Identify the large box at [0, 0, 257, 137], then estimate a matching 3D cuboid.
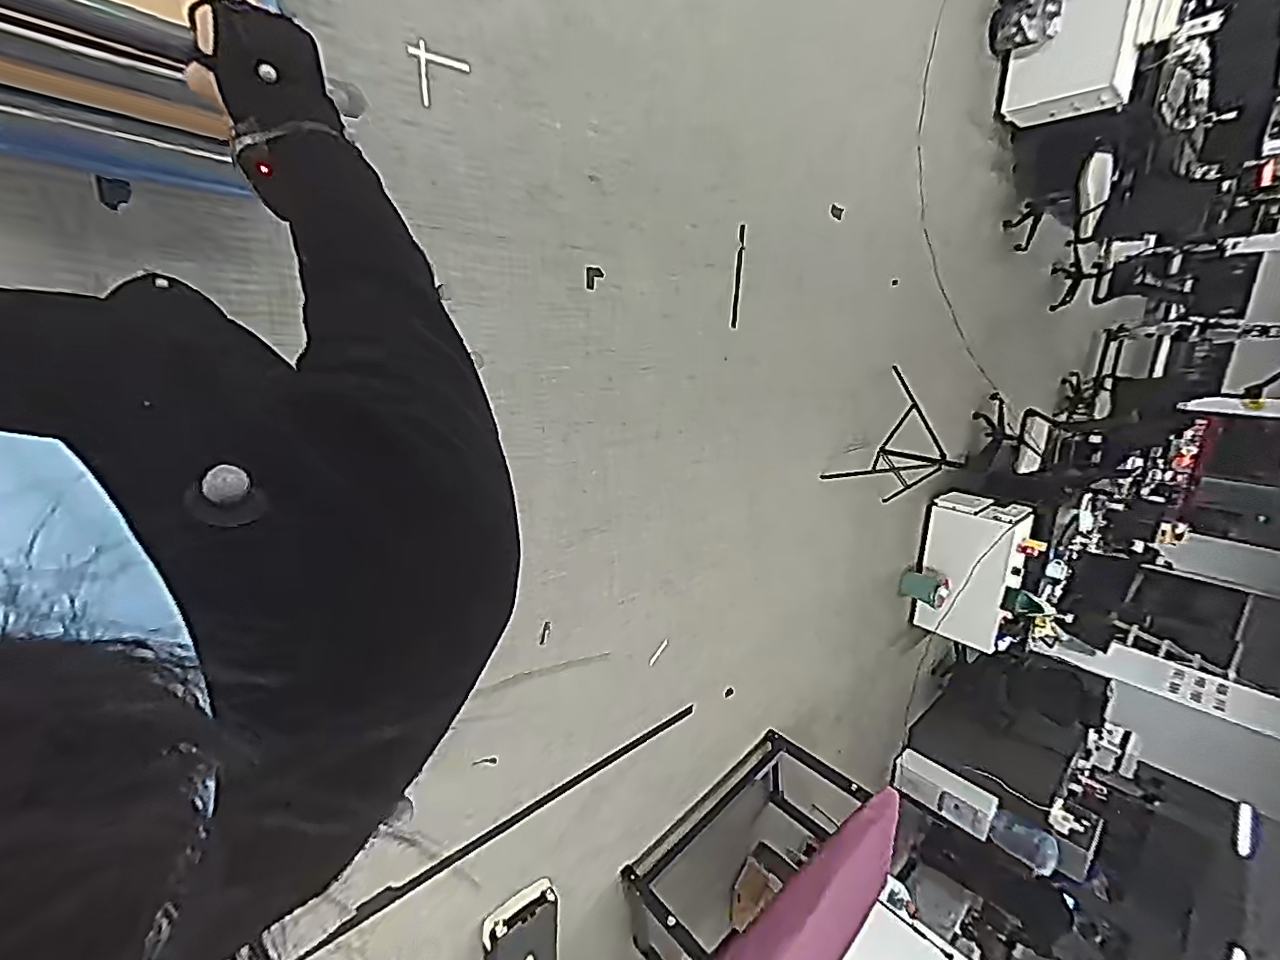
[{"bbox_3d":[-0.784,-0.709,0.708,0.408,0.320,0.320,-8,109,-43],"label":"large box"}]
